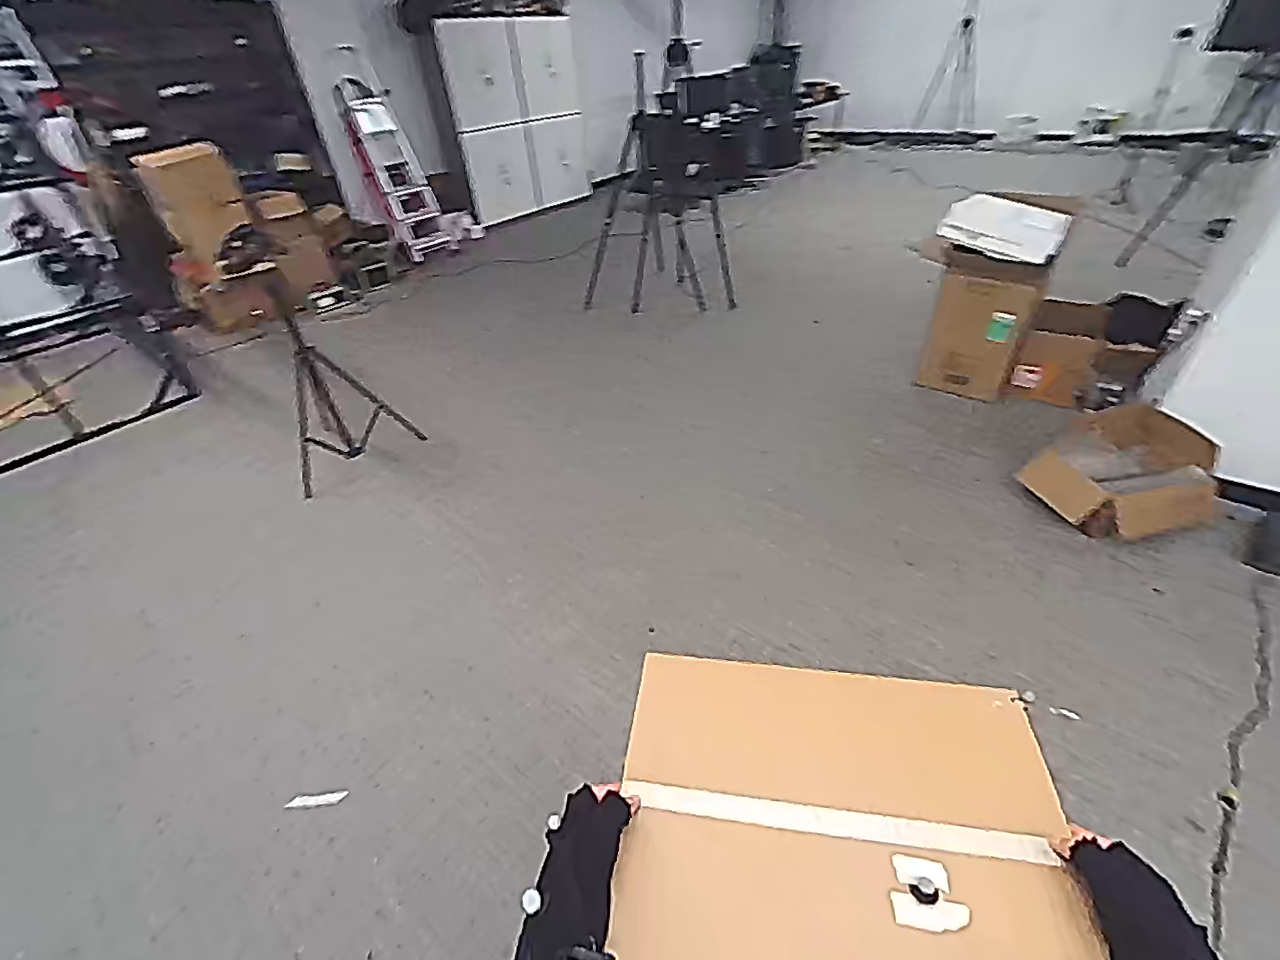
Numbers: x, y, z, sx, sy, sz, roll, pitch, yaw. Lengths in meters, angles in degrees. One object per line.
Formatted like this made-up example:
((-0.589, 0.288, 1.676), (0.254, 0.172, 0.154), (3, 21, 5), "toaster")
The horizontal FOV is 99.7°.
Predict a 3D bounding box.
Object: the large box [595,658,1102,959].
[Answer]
((0.184, 0.432, 0.601), (0.408, 0.320, 0.320), (2, 41, 9), "large box")
